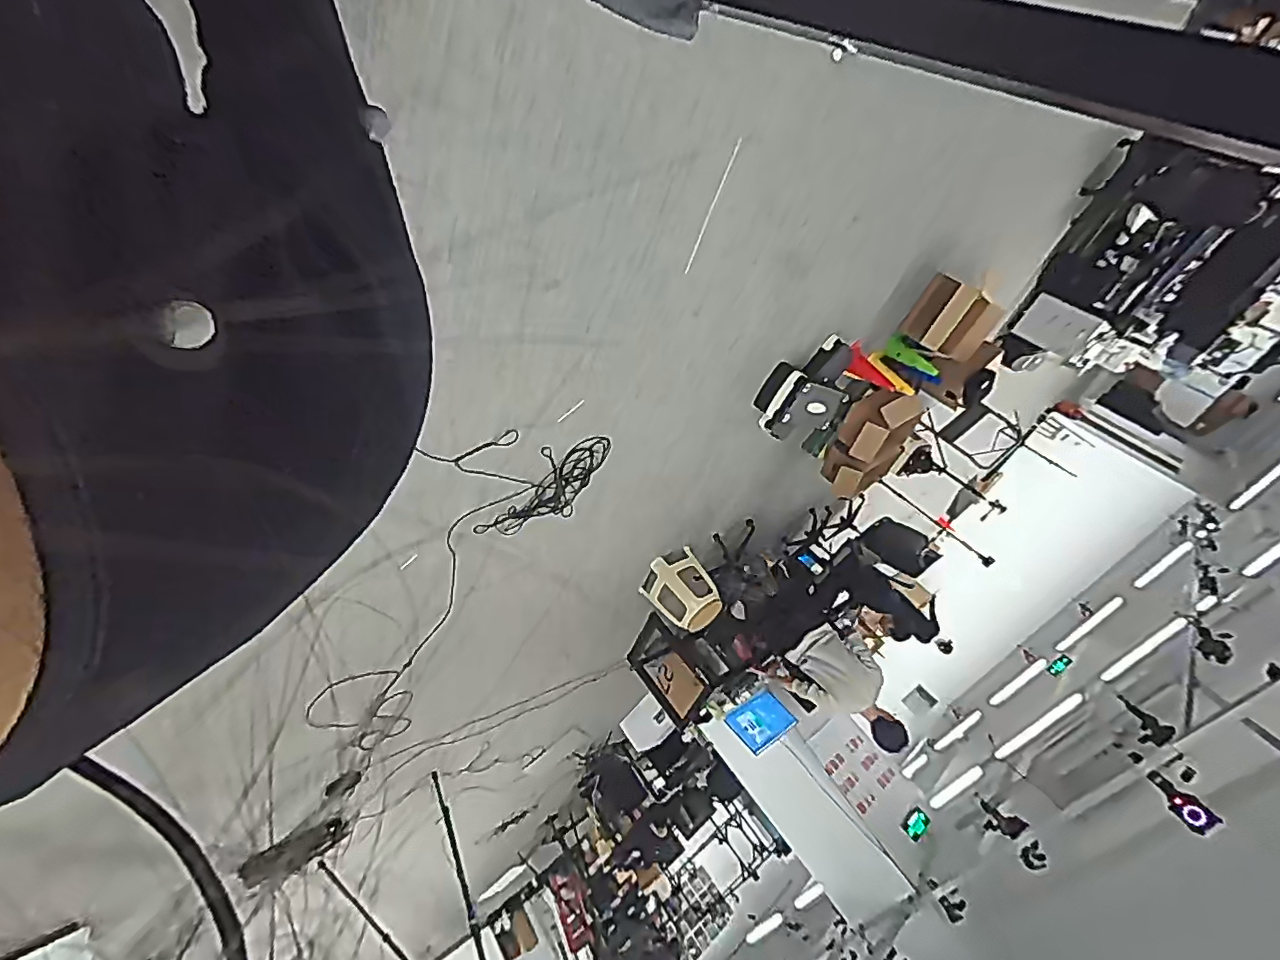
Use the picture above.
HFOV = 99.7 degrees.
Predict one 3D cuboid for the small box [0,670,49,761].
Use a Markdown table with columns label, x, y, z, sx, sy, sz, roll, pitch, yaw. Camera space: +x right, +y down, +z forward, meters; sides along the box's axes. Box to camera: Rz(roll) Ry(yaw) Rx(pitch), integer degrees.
| label | x | y | z | sx | sy | sz | roll | pitch | yaw |
| --- | --- | --- | --- | --- | --- | --- | --- | --- | --- |
| small box | -1.733 | 0.637 | 1.445 | 0.168 | 0.176 | 0.179 | -16 | 140 | -37 |
